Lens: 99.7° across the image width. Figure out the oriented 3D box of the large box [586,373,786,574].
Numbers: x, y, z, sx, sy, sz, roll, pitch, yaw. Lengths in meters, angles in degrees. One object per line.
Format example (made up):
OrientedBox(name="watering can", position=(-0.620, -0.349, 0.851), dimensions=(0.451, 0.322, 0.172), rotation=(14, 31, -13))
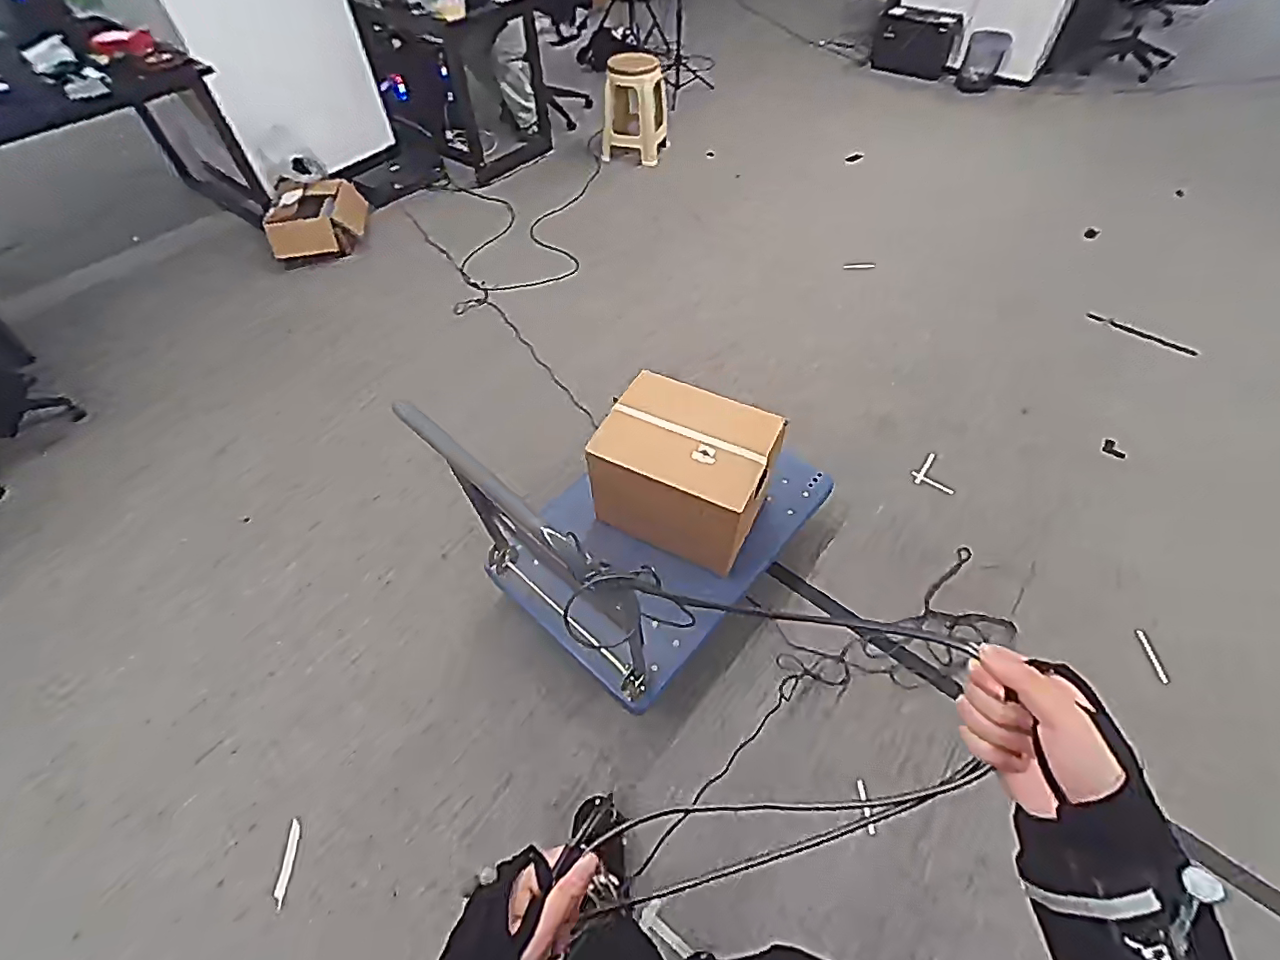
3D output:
OrientedBox(name="large box", position=(0.114, -0.017, 1.414), dimensions=(0.408, 0.320, 0.320), rotation=(23, 58, 16))
